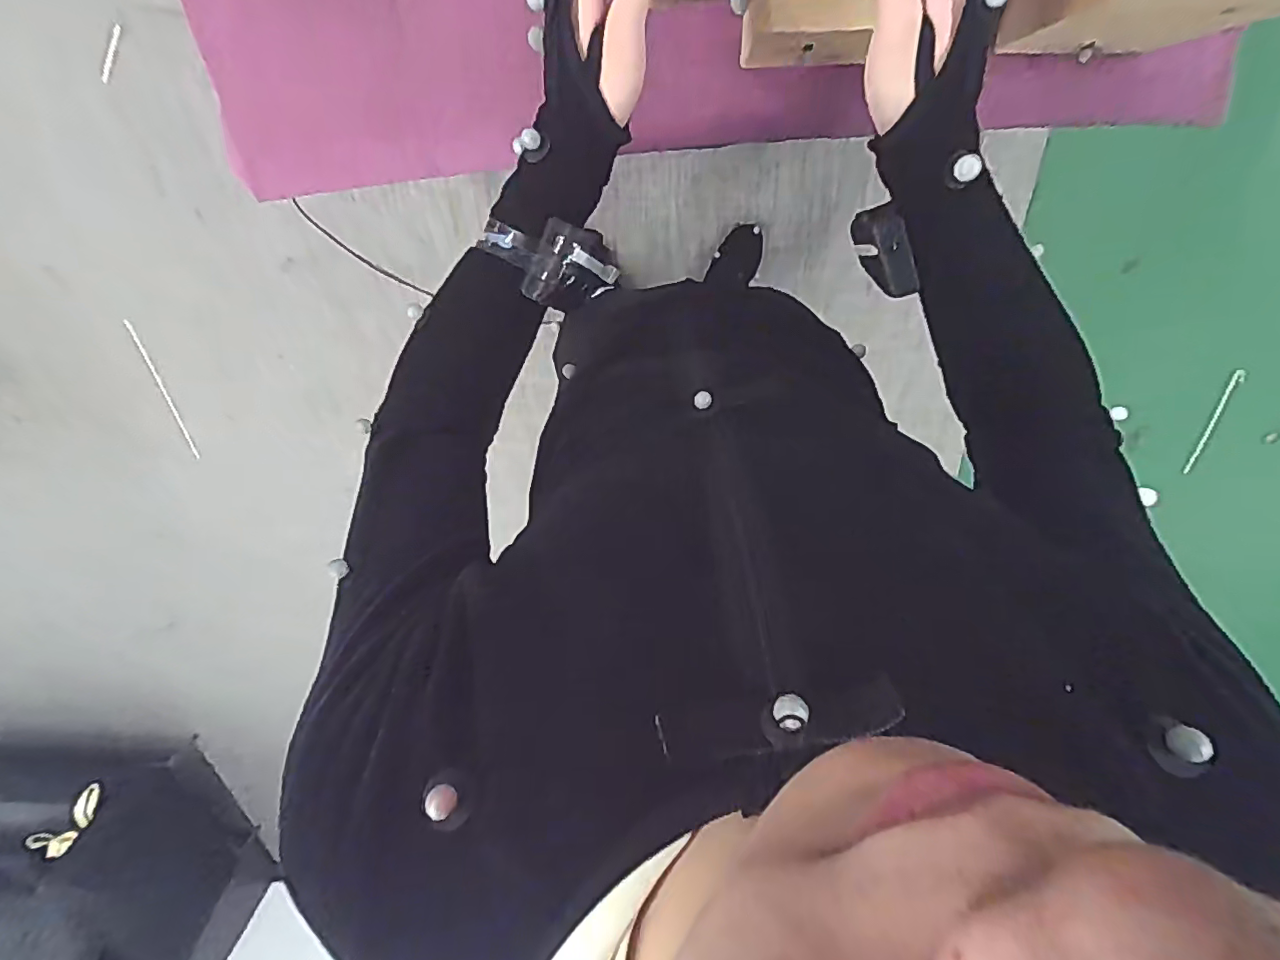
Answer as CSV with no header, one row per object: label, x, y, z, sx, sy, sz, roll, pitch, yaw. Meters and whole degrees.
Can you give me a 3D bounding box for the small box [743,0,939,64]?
small box,0.193,-0.525,0.525,0.168,0.176,0.179,1,117,5
